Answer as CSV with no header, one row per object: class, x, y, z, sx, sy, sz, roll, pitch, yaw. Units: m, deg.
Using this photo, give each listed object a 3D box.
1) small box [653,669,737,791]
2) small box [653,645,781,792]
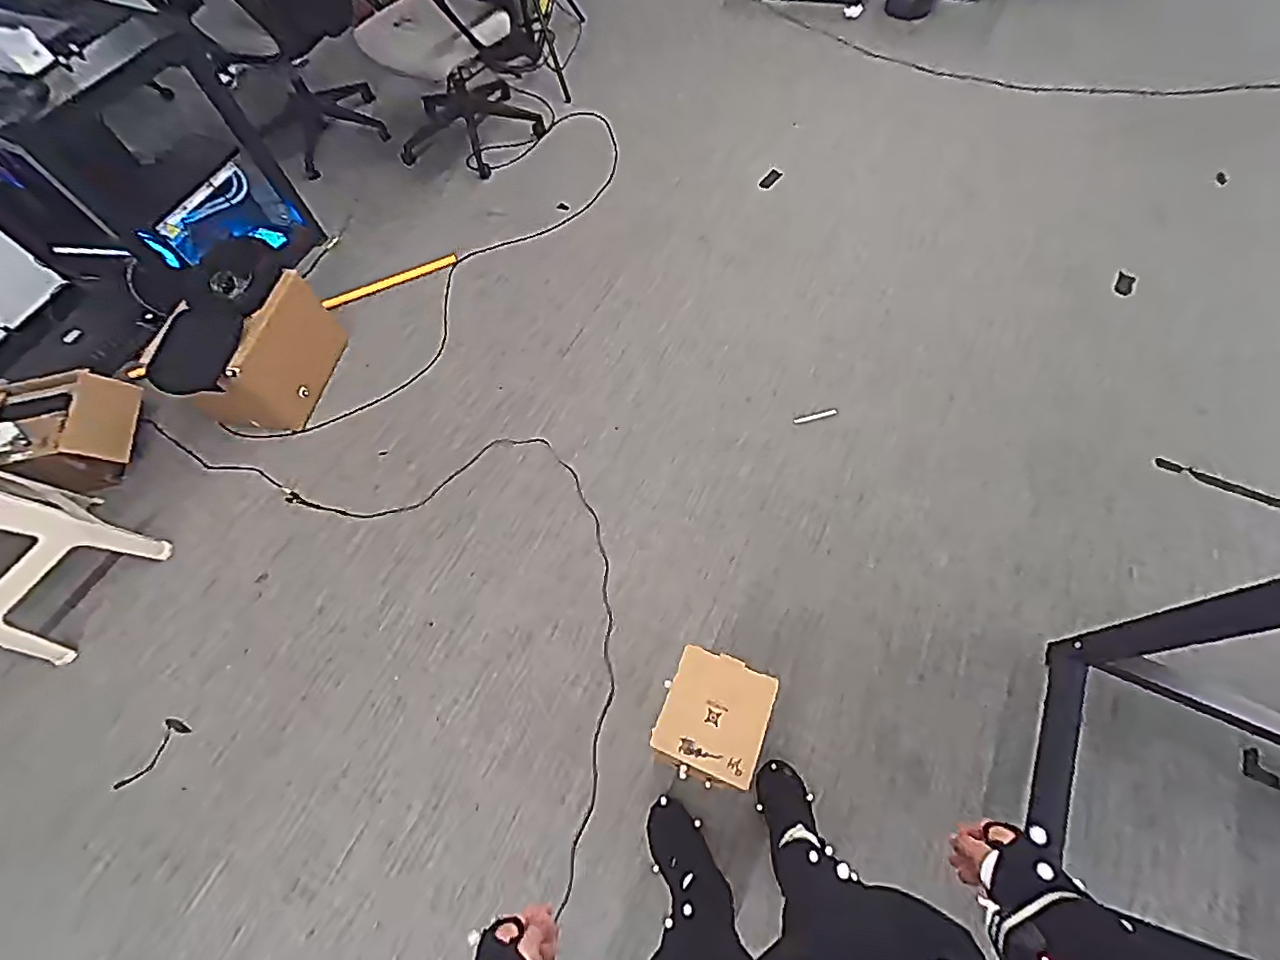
small box,0.133,0.499,1.086,0.168,0.176,0.179,17,64,11
small box,0.129,0.415,0.944,0.168,0.176,0.179,19,65,13
